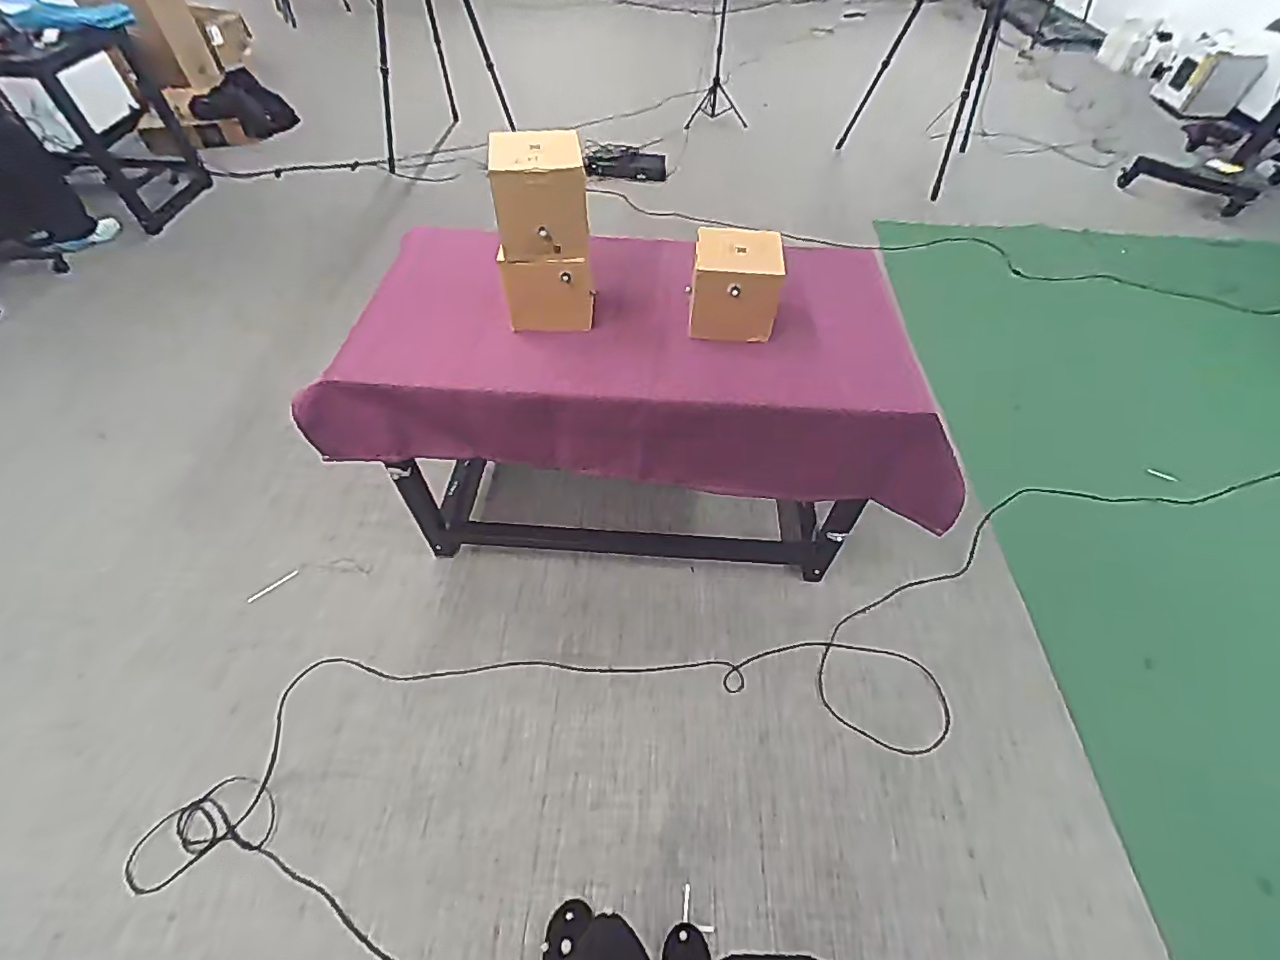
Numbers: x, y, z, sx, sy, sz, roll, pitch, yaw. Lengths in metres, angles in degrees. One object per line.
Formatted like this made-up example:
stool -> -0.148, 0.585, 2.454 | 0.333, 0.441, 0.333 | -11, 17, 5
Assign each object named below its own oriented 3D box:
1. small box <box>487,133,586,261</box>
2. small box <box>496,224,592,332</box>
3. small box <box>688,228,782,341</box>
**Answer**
small box -> -0.196, -0.549, 1.051 | 0.168, 0.176, 0.179 | -7, 52, -6
small box -> -0.199, -0.438, 1.173 | 0.179, 0.176, 0.168 | 0, 52, -2
small box -> 0.197, -0.417, 1.161 | 0.179, 0.176, 0.168 | 5, 53, 2
